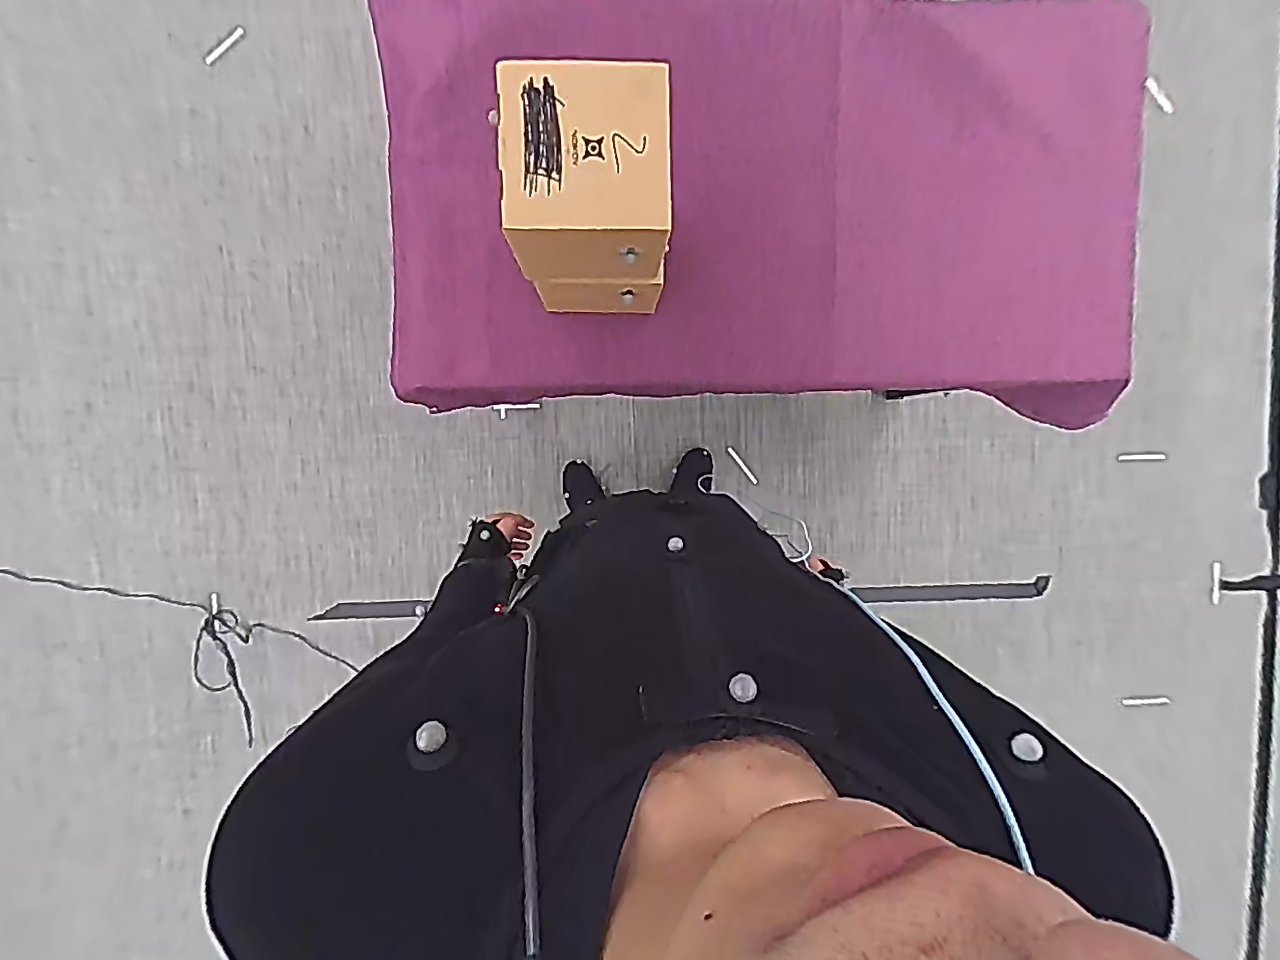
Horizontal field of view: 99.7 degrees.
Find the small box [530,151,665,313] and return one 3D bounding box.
[{"bbox_3d":[-0.061,-0.347,0.786,0.179,0.176,0.168,0,94,-3],"label":"small box"}]
